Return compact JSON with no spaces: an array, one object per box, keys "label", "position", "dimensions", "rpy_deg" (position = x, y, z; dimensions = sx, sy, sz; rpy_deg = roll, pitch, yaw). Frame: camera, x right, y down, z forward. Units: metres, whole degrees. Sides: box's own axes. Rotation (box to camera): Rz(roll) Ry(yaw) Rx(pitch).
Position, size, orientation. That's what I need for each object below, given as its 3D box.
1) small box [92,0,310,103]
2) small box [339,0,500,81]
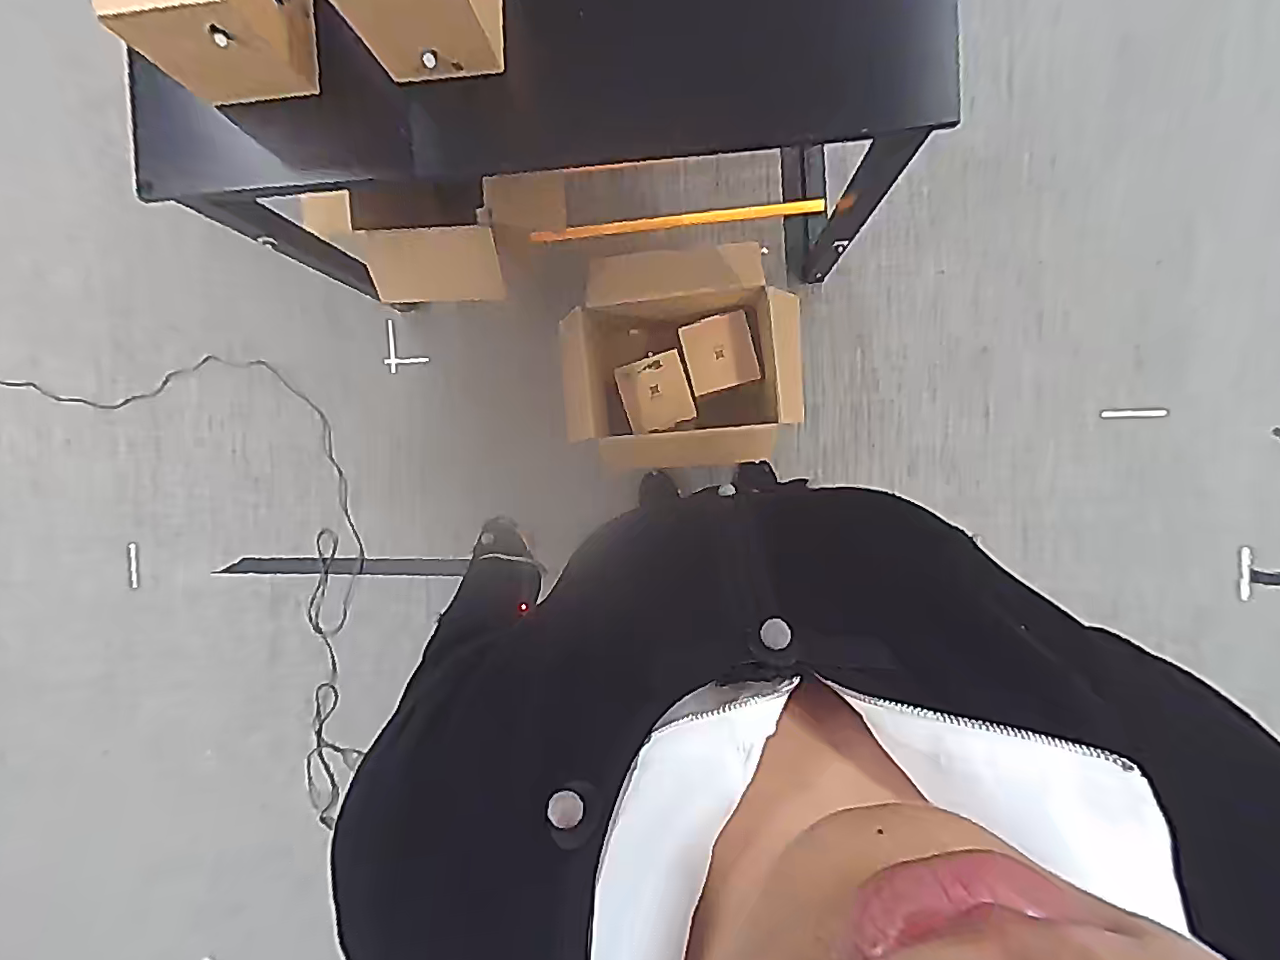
[{"label":"small box","position":[-0.572,-0.644,0.722],"dimensions":[0.179,0.176,0.168],"rpy_deg":[-3,92,5]},{"label":"small box","position":[-0.288,-0.664,0.697],"dimensions":[0.168,0.176,0.179],"rpy_deg":[-1,93,6]}]
